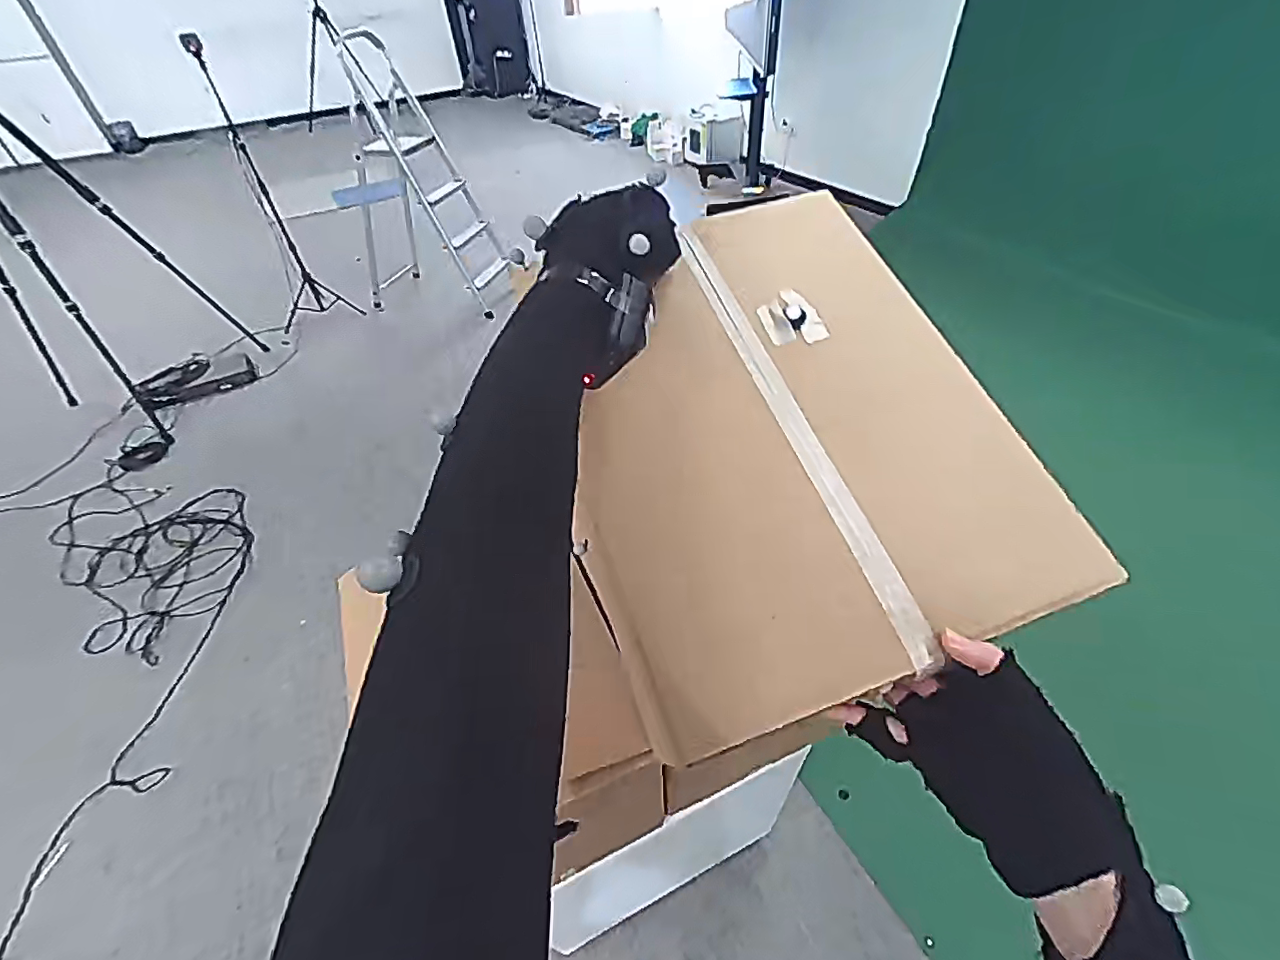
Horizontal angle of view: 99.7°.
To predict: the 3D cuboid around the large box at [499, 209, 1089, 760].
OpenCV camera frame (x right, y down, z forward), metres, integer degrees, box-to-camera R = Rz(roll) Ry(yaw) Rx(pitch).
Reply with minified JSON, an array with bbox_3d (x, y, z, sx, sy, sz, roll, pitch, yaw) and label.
[{"bbox_3d":[0.086,0.014,0.545,0.320,0.320,0.408,-17,63,-10],"label":"large box"}]
